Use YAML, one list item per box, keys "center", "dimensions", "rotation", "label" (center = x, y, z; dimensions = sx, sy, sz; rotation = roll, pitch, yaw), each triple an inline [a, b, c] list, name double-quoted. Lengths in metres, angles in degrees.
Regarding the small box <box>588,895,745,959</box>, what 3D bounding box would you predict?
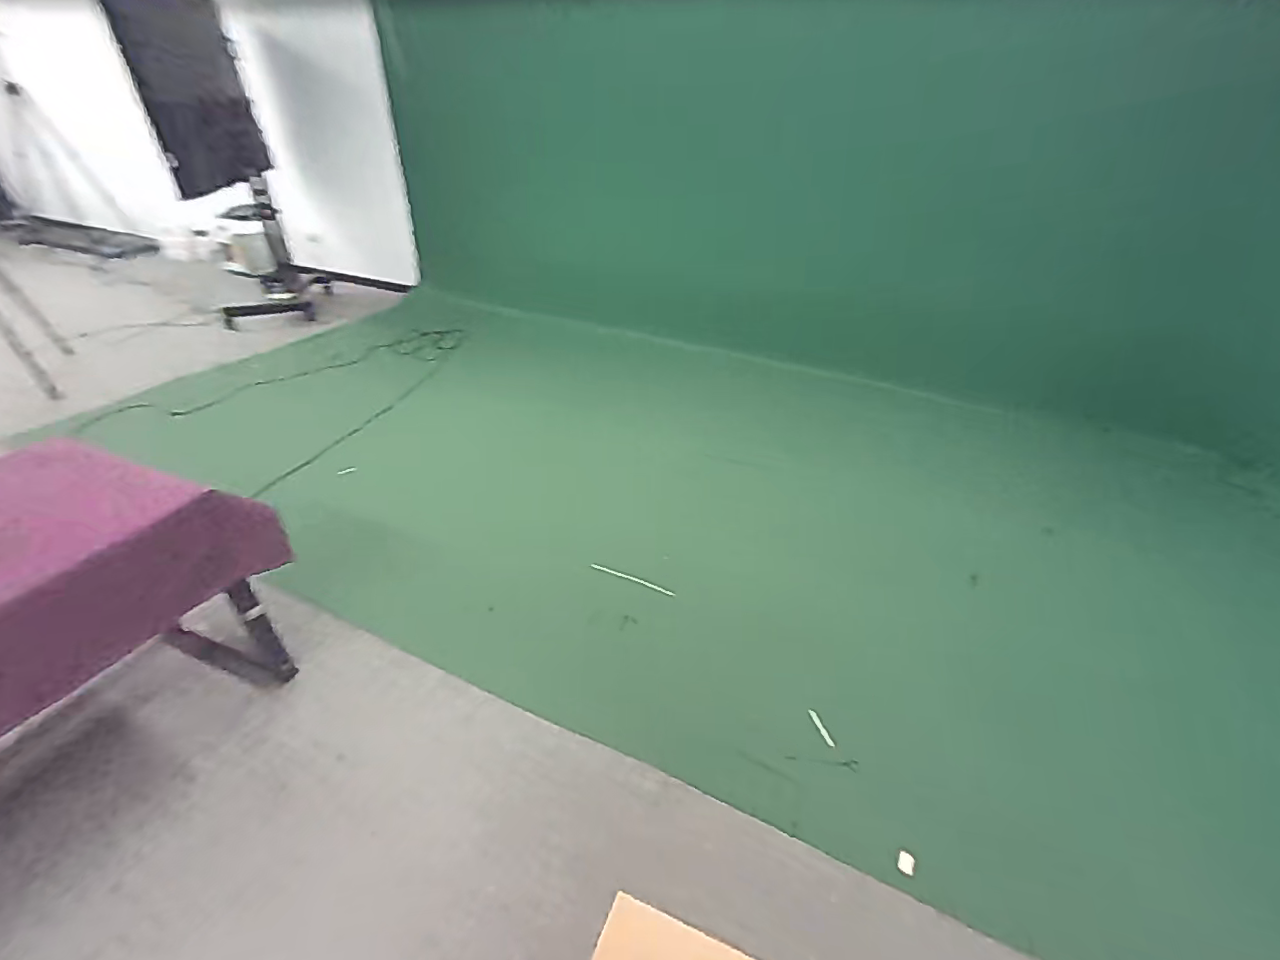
- center: [0.014, 0.491, 0.426]
  dimensions: [0.168, 0.176, 0.179]
  rotation: [14, 34, 17]
  label: "small box"
